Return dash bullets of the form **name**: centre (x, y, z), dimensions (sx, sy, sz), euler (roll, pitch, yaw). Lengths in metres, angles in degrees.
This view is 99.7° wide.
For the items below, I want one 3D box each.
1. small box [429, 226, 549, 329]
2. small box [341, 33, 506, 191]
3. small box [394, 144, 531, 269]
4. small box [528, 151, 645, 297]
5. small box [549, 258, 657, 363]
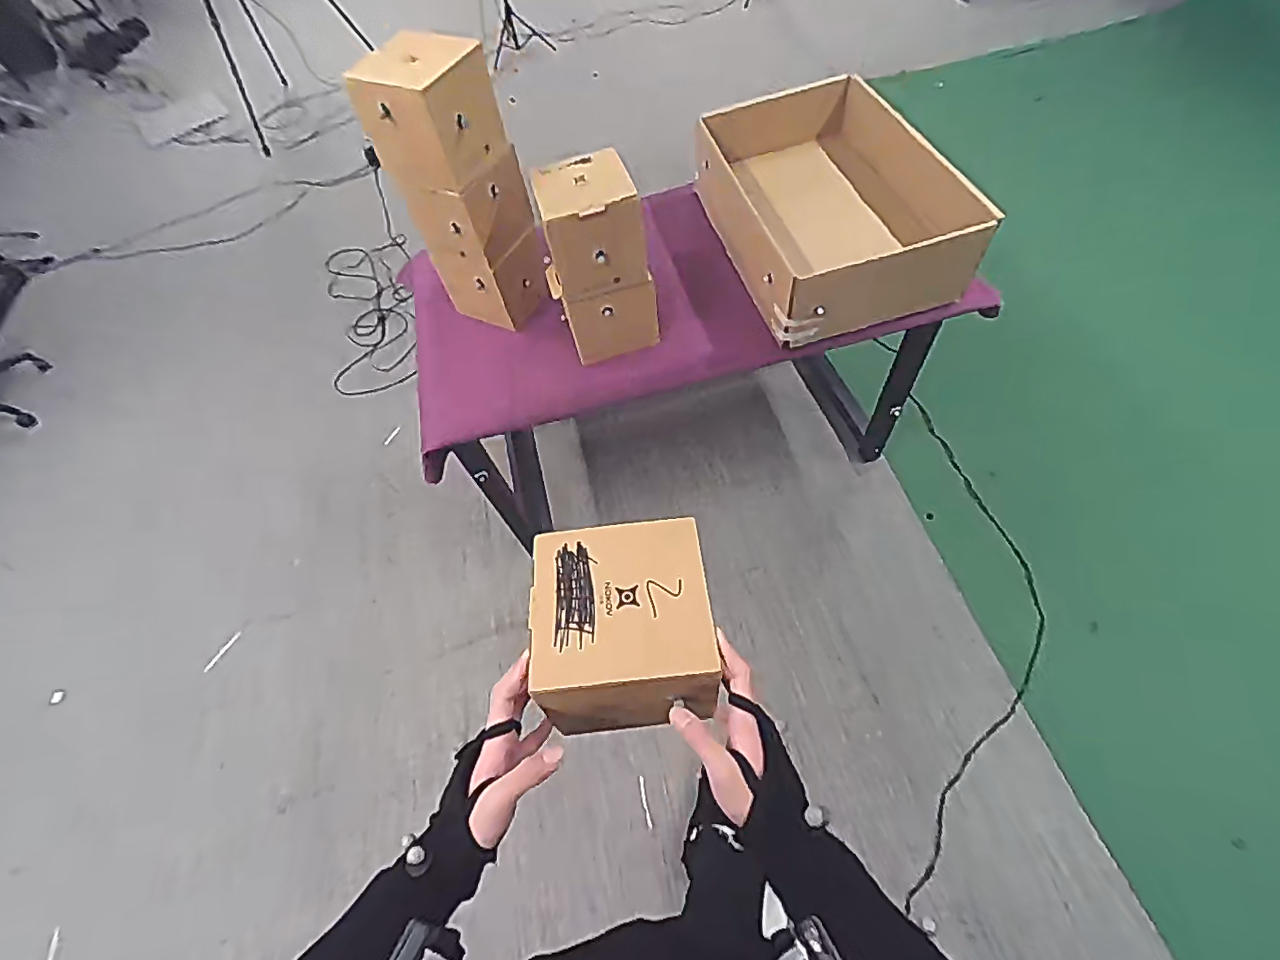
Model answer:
- **small box**: centre (-0.331, -0.469, 1.223), dimensions (0.179, 0.176, 0.168), euler (22, 64, 18)
- **small box**: centre (-0.364, -0.638, 0.949), dimensions (0.179, 0.176, 0.168), euler (21, 65, 17)
- **small box**: centre (-0.343, -0.556, 1.086), dimensions (0.168, 0.176, 0.179), euler (23, 64, 17)
- **small box**: centre (-0.094, -0.460, 0.996), dimensions (0.168, 0.176, 0.179), euler (-16, 58, -3)
- **small box**: centre (-0.074, -0.371, 1.132), dimensions (0.179, 0.176, 0.168), euler (-17, 58, -4)
